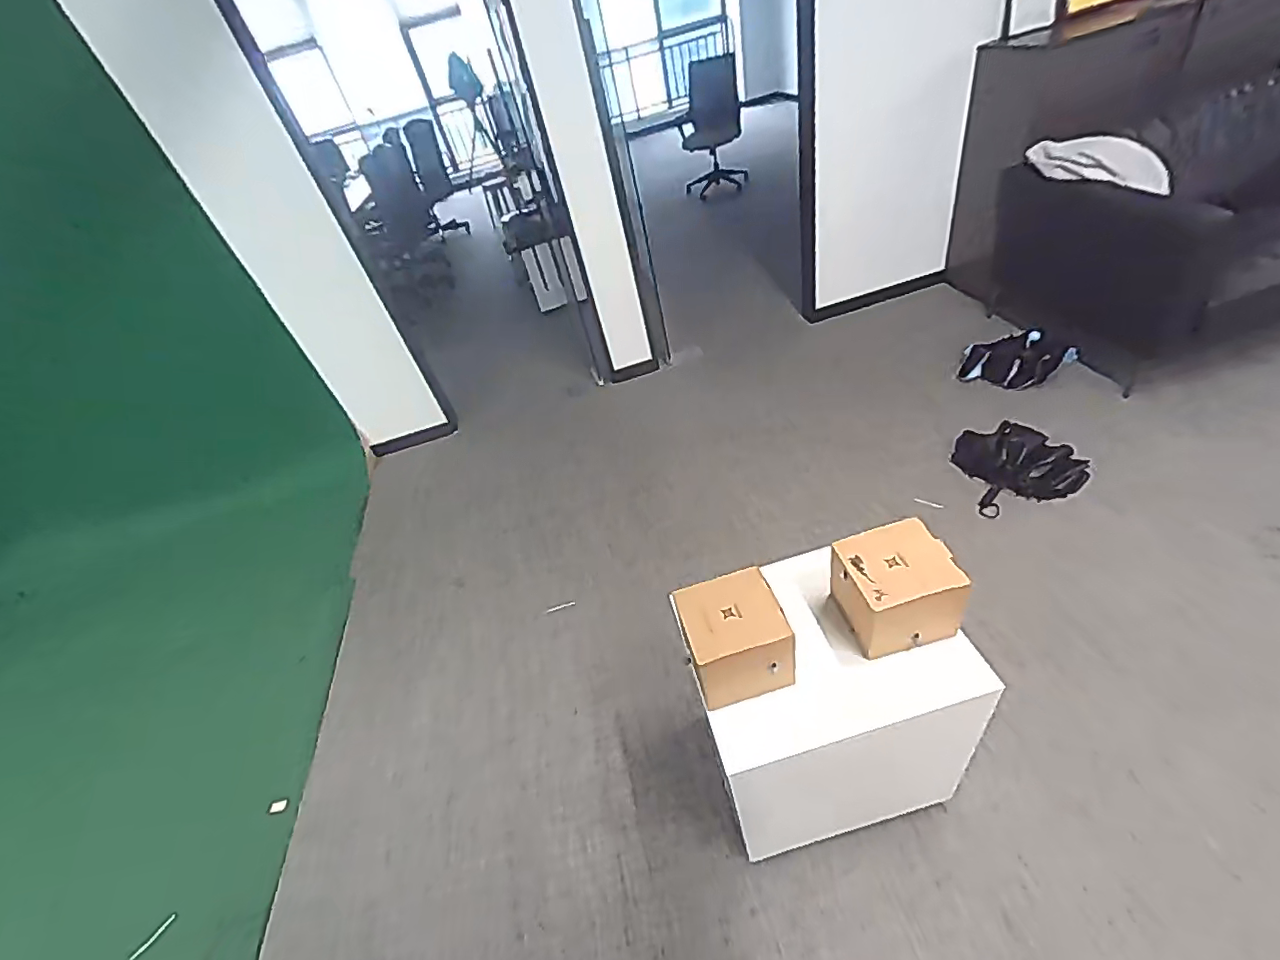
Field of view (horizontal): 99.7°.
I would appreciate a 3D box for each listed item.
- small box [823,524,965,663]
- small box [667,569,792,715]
[{"bbox_3d":[0.463,0.214,1.019,0.179,0.176,0.168,-15,40,-3],"label":"small box"},{"bbox_3d":[0.162,0.300,0.998,0.179,0.176,0.168,-17,39,-6],"label":"small box"}]
